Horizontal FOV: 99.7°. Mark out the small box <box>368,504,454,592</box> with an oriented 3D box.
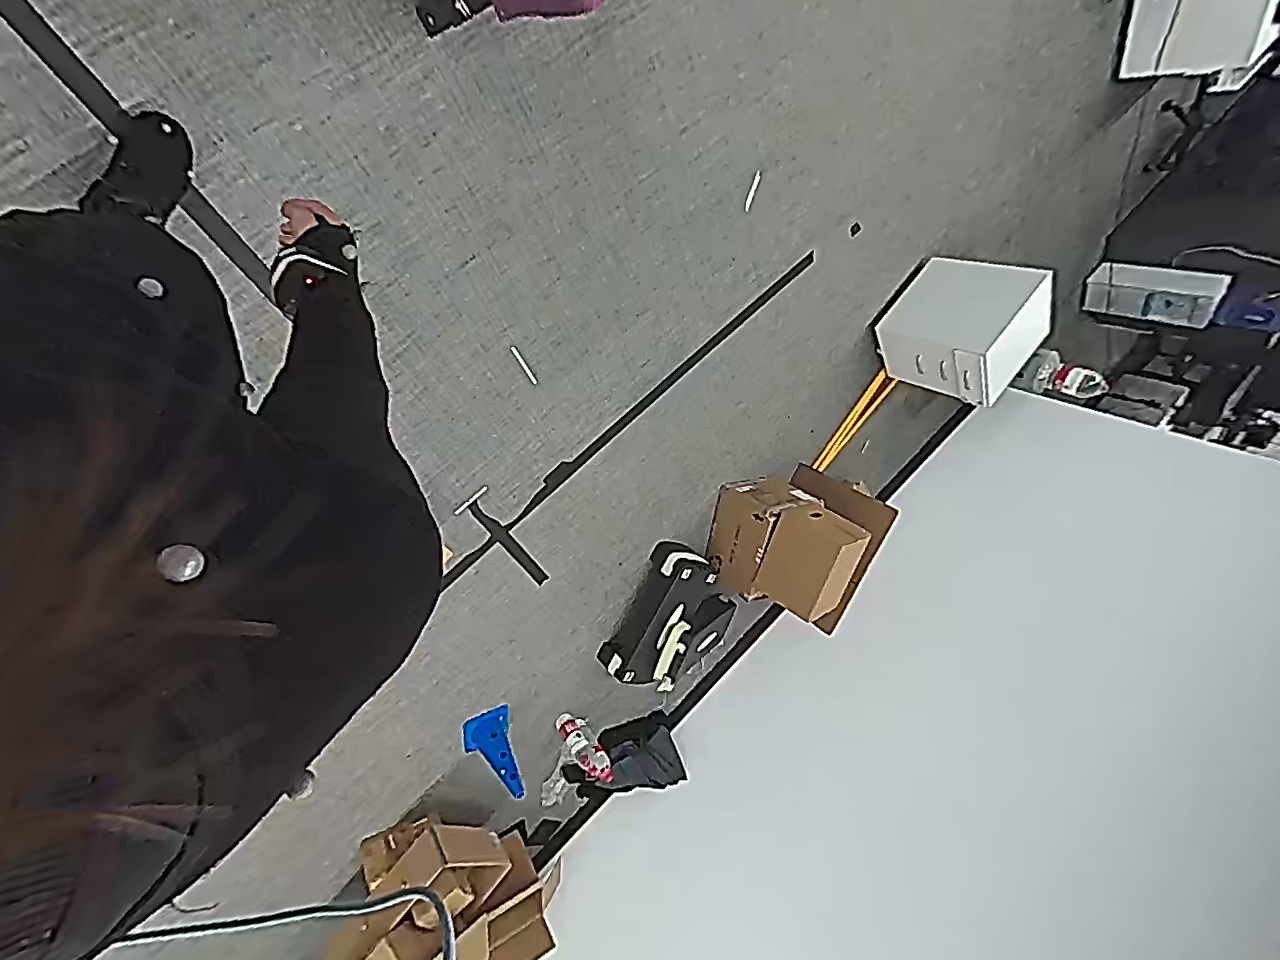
[{"bbox_3d":[-0.721,0.209,1.689,0.179,0.176,0.168,-44,134,-11],"label":"small box"}]
